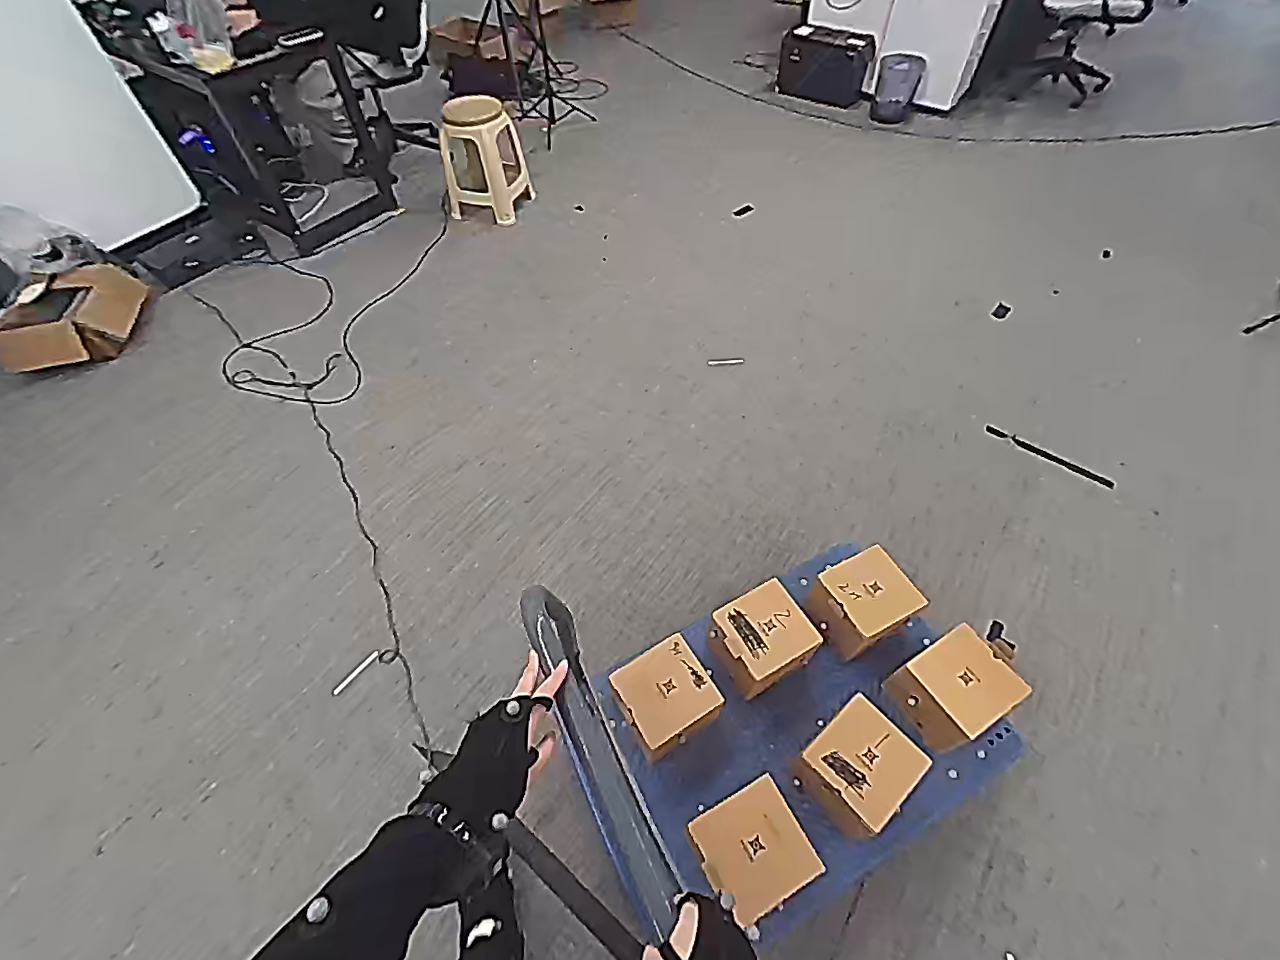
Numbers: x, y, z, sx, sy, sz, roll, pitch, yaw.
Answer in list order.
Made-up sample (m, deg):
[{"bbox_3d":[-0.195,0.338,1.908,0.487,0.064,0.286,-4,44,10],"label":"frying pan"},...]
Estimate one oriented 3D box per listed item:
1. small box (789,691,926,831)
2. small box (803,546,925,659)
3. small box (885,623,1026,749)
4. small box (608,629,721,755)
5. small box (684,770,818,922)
[{"bbox_3d":[0.414,0.557,1.064,0.179,0.176,0.168,-34,61,-21],"label":"small box"},{"bbox_3d":[0.508,0.286,1.252,0.179,0.176,0.168,-22,57,-13],"label":"small box"},{"bbox_3d":[0.648,0.439,1.142,0.179,0.176,0.168,-26,58,-16],"label":"small box"},{"bbox_3d":[0.050,0.453,1.145,0.179,0.176,0.168,-27,59,-16],"label":"small box"},{"bbox_3d":[0.192,0.667,0.993,0.179,0.176,0.168,-23,58,-15],"label":"small box"}]
